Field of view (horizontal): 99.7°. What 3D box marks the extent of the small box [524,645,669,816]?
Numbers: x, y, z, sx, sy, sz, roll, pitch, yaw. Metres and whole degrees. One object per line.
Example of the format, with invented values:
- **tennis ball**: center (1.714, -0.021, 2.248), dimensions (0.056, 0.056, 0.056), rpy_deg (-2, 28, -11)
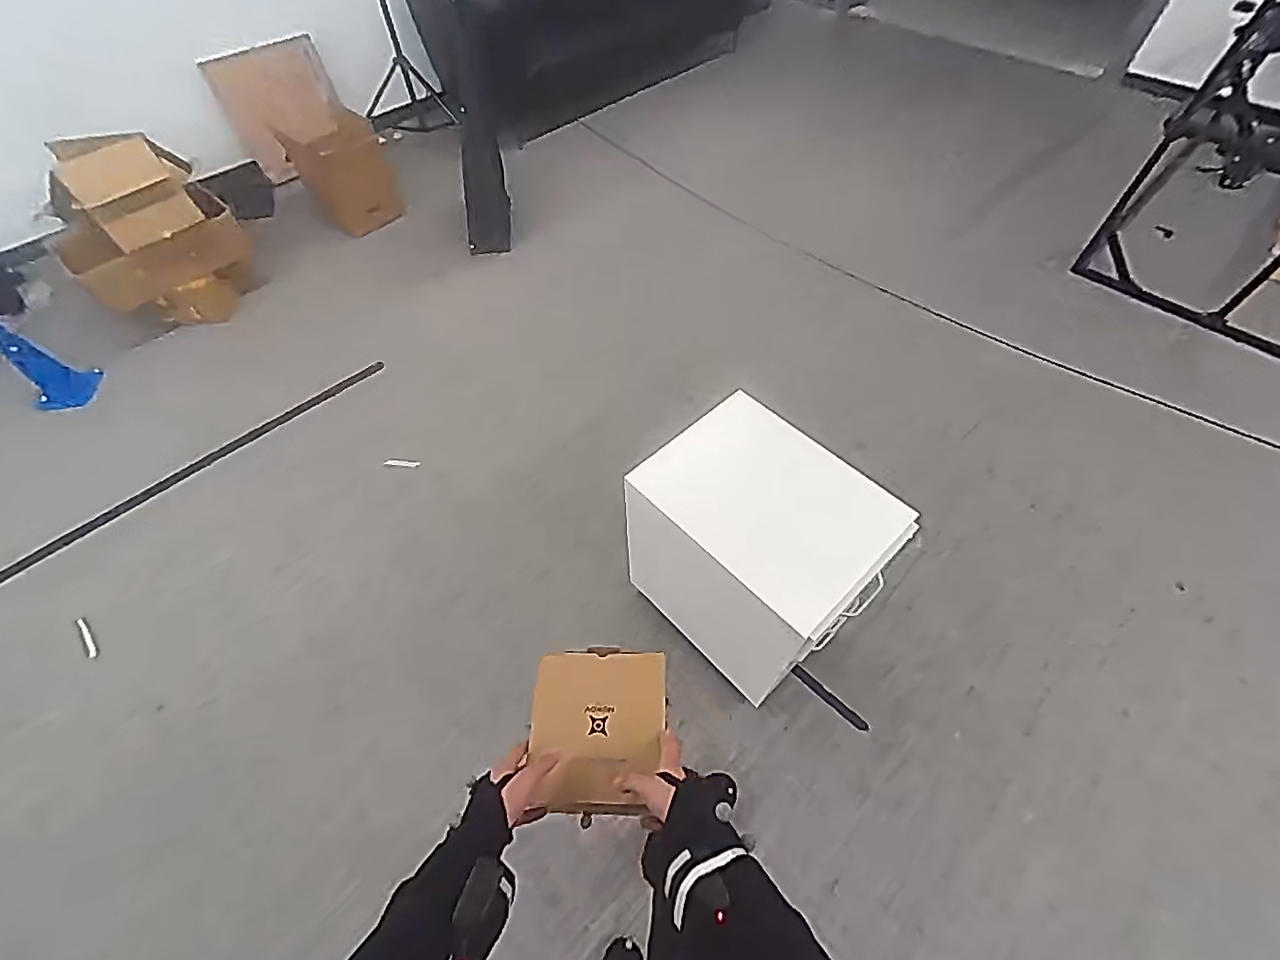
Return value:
- **small box**: center (-0.049, 0.337, 0.723), dimensions (0.168, 0.176, 0.179), rpy_deg (2, 55, 1)
